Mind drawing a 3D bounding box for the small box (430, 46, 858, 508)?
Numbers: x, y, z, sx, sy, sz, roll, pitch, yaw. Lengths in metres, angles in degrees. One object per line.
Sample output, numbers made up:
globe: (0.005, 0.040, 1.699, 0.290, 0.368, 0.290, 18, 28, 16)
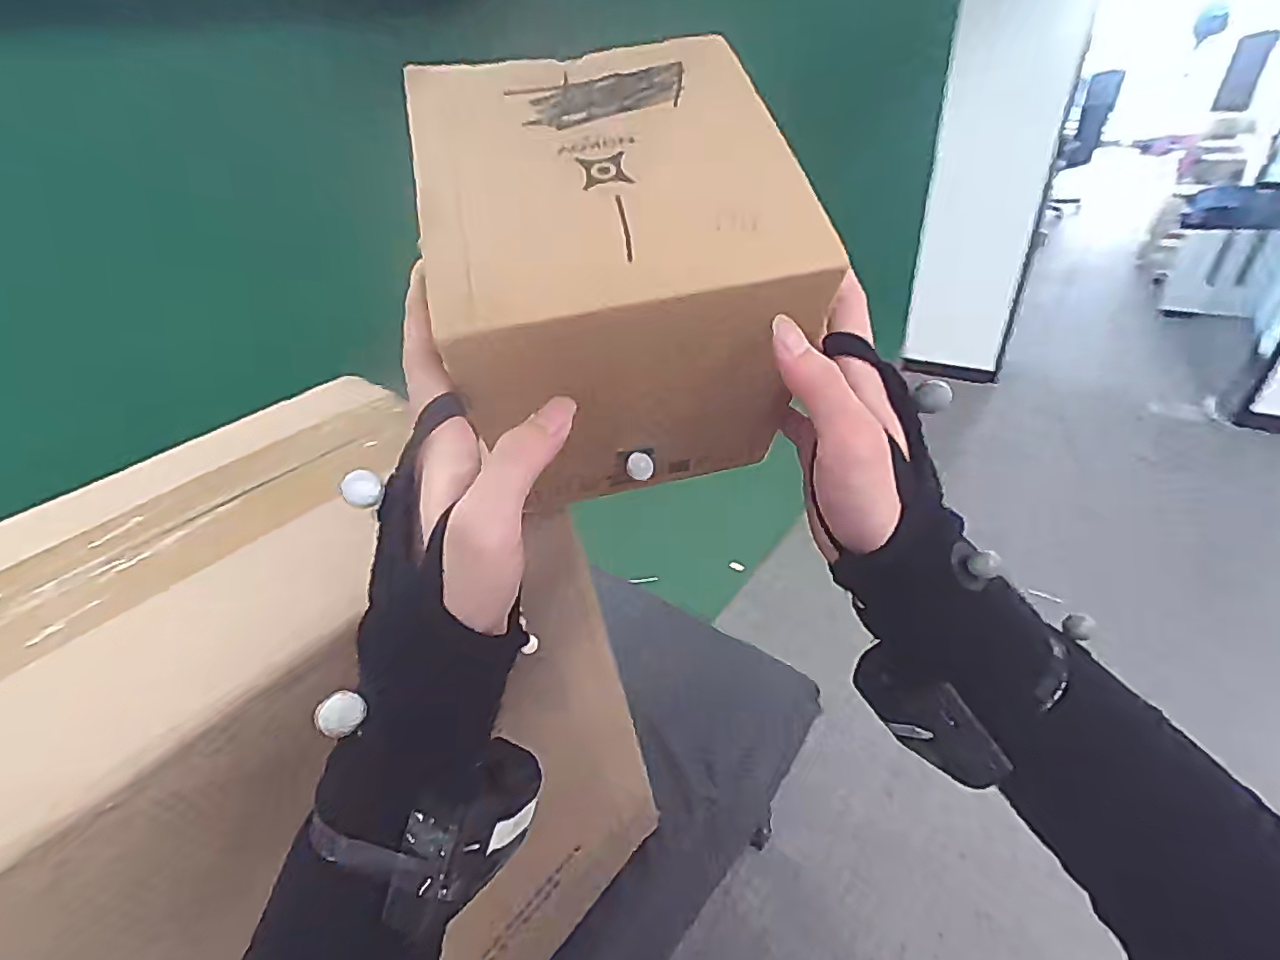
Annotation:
small box: (-0.010, -0.104, 0.314, 0.168, 0.176, 0.179, -11, 67, -6)
